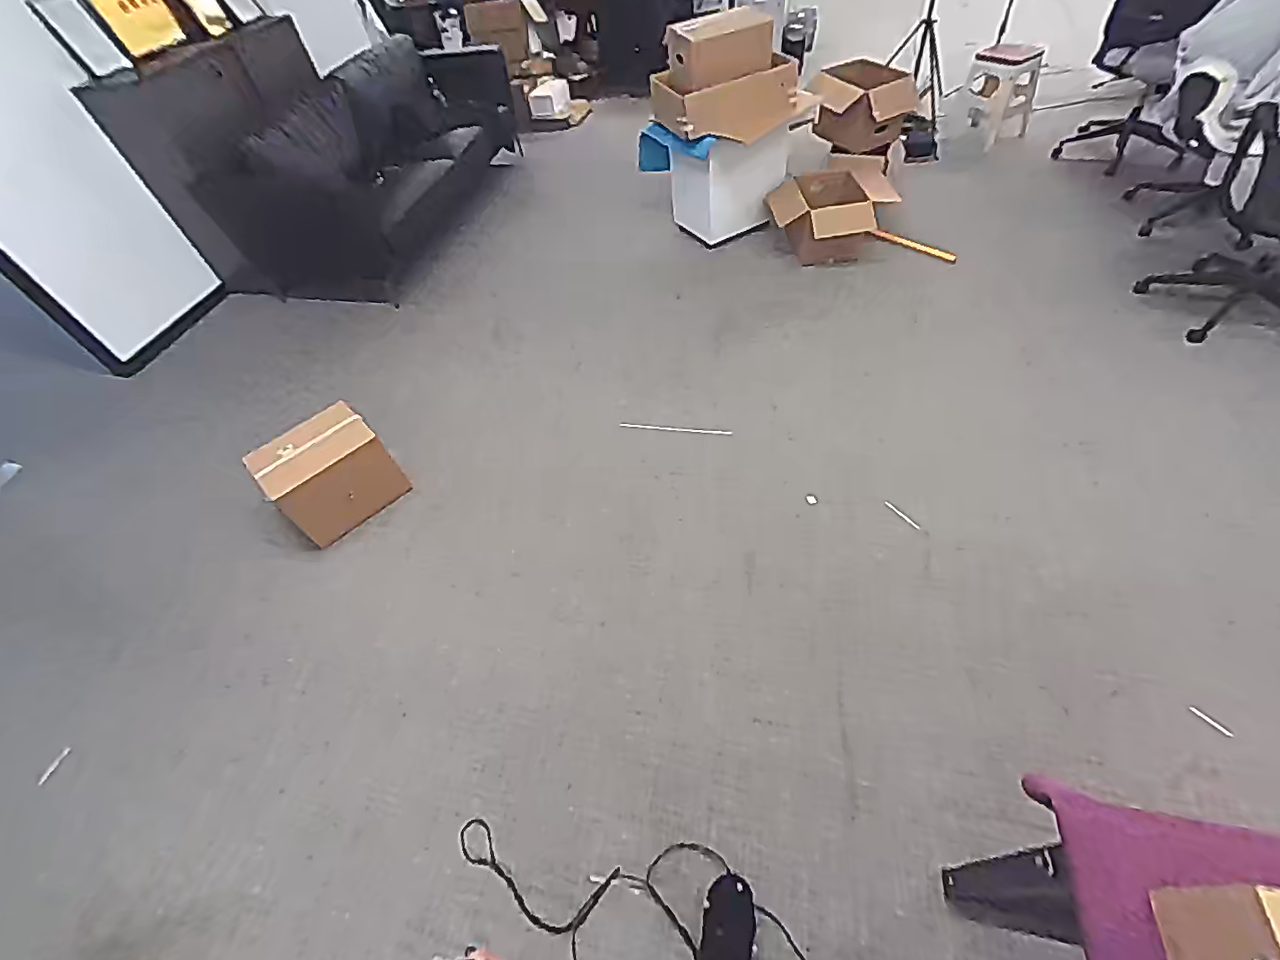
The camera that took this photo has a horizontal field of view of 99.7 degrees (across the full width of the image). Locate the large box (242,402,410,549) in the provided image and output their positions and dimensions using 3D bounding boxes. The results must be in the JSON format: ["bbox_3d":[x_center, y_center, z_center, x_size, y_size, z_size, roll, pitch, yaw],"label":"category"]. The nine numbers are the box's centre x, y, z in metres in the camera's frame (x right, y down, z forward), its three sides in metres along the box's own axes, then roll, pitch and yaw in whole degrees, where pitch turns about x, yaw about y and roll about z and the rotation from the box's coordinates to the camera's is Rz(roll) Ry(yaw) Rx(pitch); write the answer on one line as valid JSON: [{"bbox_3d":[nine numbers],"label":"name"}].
[{"bbox_3d":[-1.186,-0.020,2.077,0.408,0.320,0.320,-41,56,-22],"label":"large box"}]

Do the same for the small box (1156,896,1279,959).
[{"bbox_3d":[0.664,0.514,0.511,0.179,0.176,0.168,6,52,11],"label":"small box"}]
